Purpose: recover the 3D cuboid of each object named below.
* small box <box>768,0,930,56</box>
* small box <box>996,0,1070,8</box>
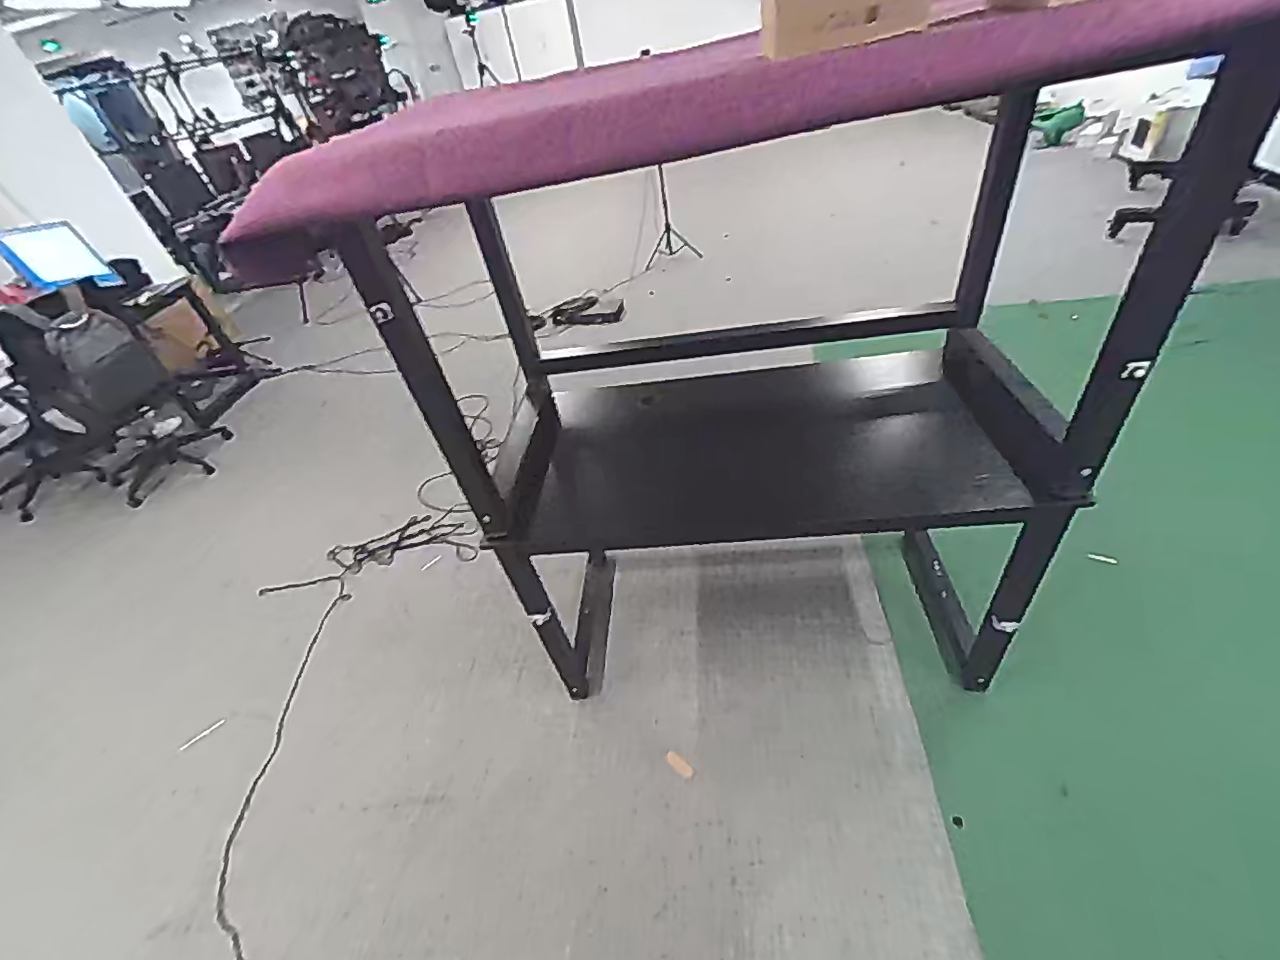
[{"bbox_3d":[0.238,-0.611,0.627,0.168,0.176,0.179,-4,39,10],"label":"small box"},{"bbox_3d":[0.514,-0.628,0.573,0.168,0.176,0.179,-4,41,11],"label":"small box"}]
